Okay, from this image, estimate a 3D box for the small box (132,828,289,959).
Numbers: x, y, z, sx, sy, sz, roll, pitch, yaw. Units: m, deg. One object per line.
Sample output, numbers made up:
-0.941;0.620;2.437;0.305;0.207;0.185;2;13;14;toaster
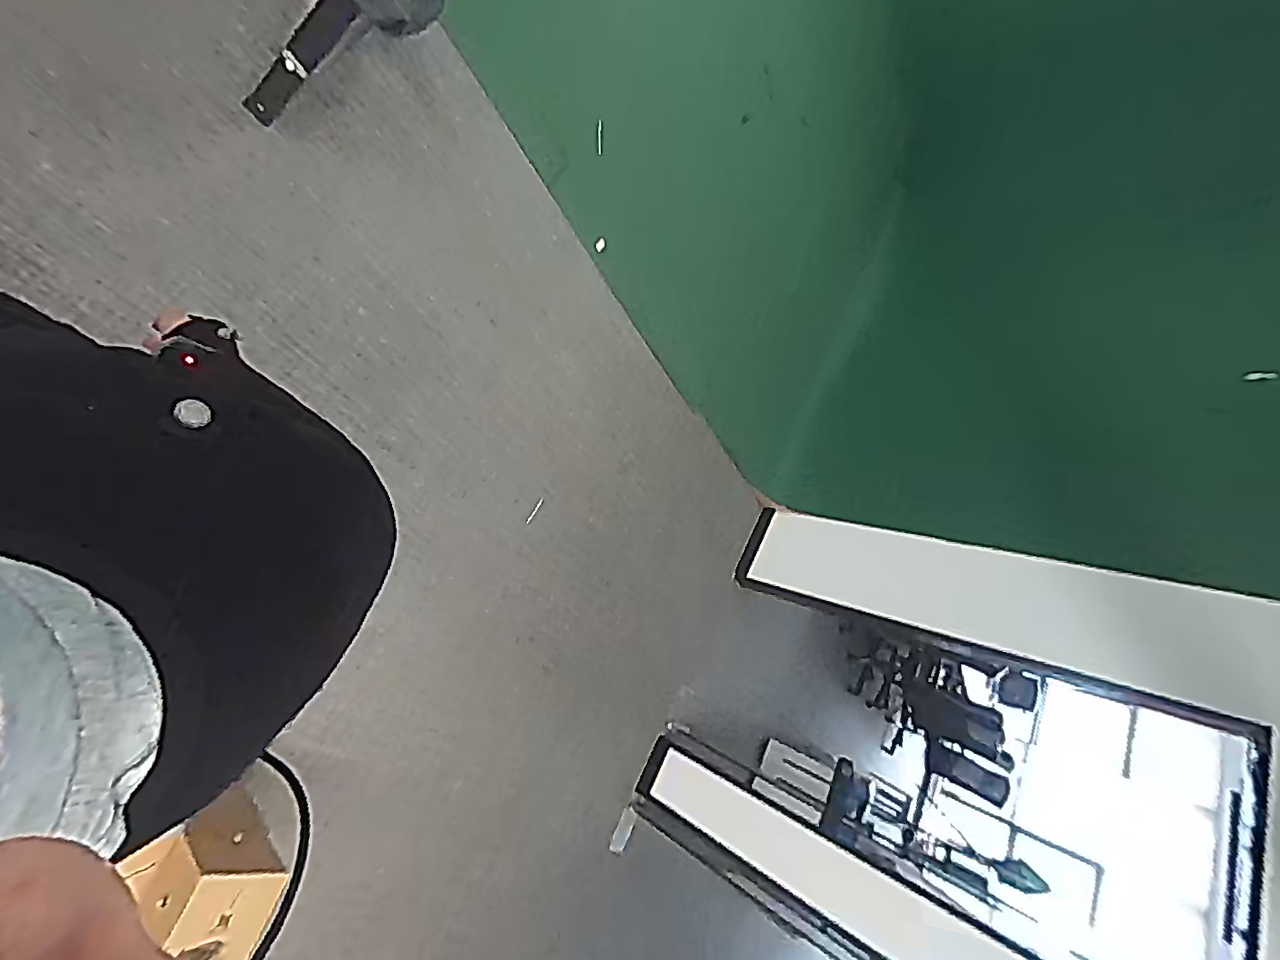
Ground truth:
-0.835;0.813;1.048;0.168;0.176;0.179;42;62;-44;small box
